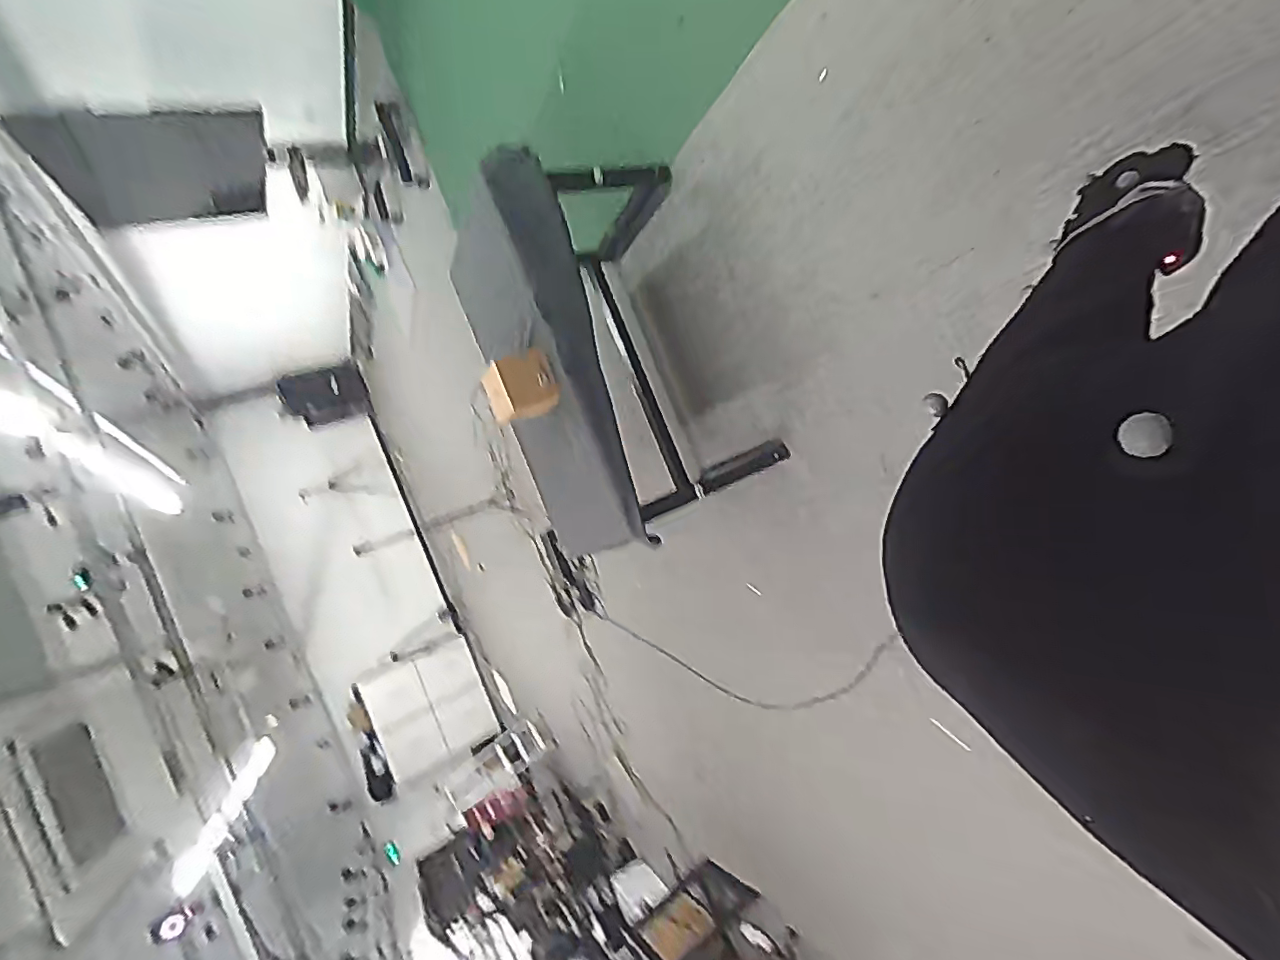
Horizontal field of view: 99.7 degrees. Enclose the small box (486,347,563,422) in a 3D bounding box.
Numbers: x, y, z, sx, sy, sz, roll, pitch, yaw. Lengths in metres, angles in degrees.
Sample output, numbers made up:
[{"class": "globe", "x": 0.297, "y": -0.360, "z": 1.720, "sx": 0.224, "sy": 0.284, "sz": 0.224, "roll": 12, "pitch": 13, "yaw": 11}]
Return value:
[{"class": "small box", "x": -0.364, "y": -0.301, "z": 1.708, "sx": 0.179, "sy": 0.176, "sz": 0.168, "roll": -22, "pitch": 90, "yaw": 60}]
